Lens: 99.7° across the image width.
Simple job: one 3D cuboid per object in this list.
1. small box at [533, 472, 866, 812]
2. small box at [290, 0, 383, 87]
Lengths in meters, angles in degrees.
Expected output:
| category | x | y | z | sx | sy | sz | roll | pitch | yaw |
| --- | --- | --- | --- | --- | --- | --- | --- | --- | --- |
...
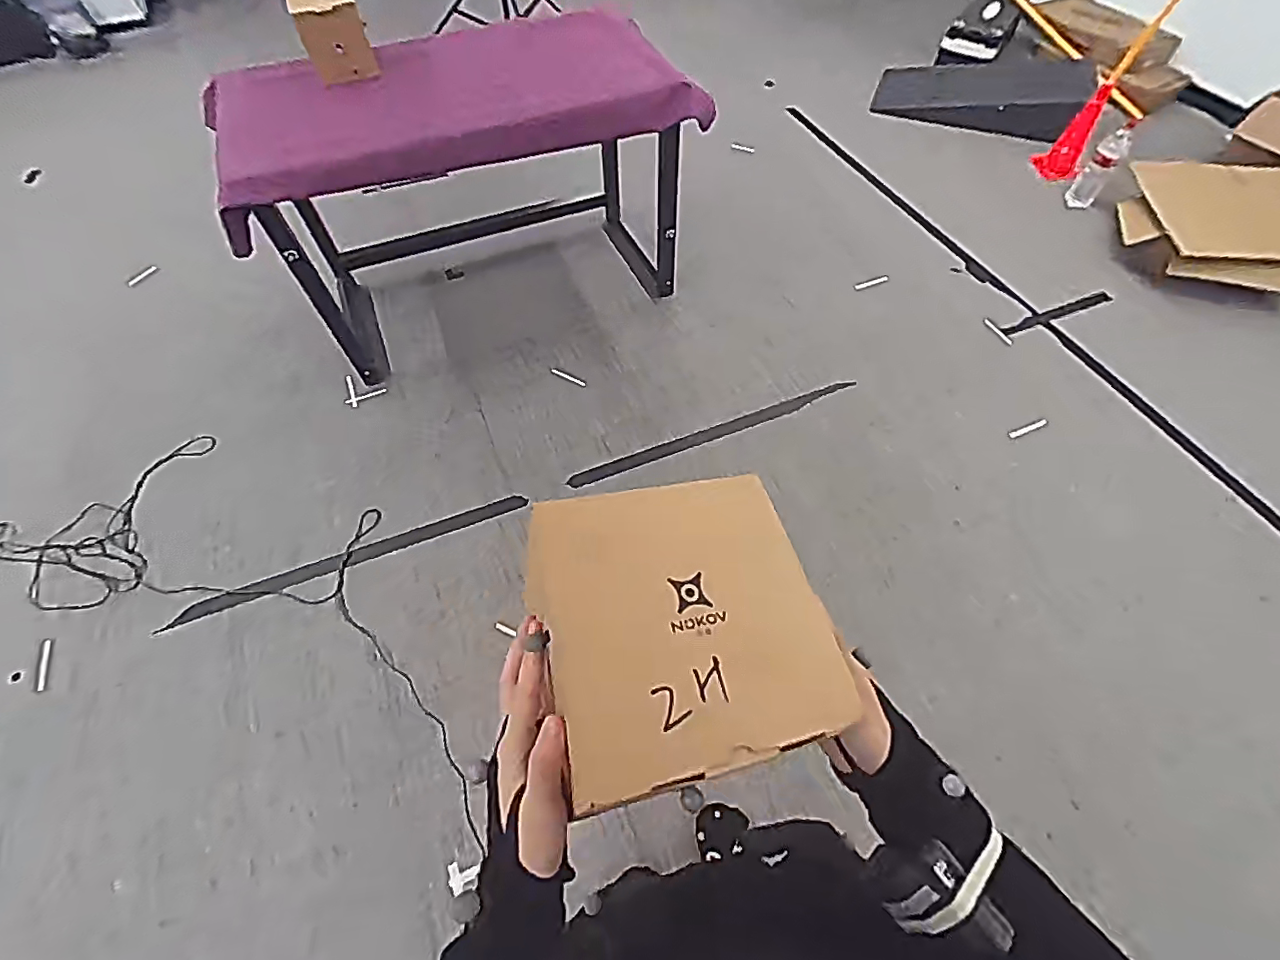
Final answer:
| category | x | y | z | sx | sy | sz | roll | pitch | yaw |
| --- | --- | --- | --- | --- | --- | --- | --- | --- | --- |
| small box | 0.017 | 0.118 | 0.393 | 0.168 | 0.176 | 0.179 | -8 | 59 | -17 |
| small box | -0.834 | -1.220 | 1.494 | 0.168 | 0.176 | 0.179 | -21 | 63 | -12 |
